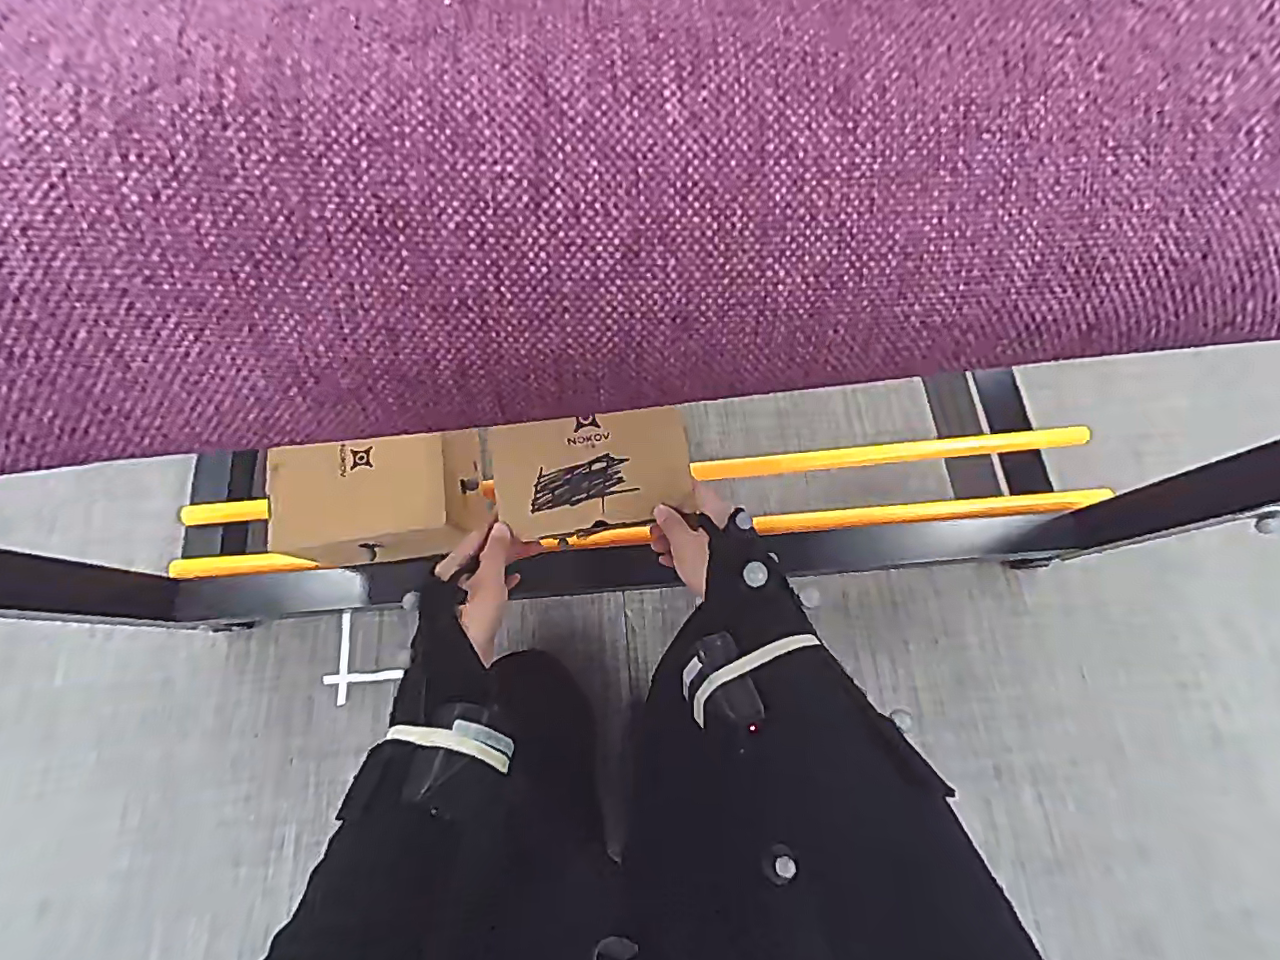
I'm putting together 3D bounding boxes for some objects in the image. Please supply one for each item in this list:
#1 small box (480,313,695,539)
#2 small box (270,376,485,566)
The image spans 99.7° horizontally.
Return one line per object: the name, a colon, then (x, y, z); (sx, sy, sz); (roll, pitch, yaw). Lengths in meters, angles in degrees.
small box: (-0.046, -0.040, 0.535); (0.168, 0.176, 0.179); (-9, 84, -2)
small box: (-0.284, -0.001, 0.622); (0.179, 0.176, 0.168); (-8, 74, -3)
